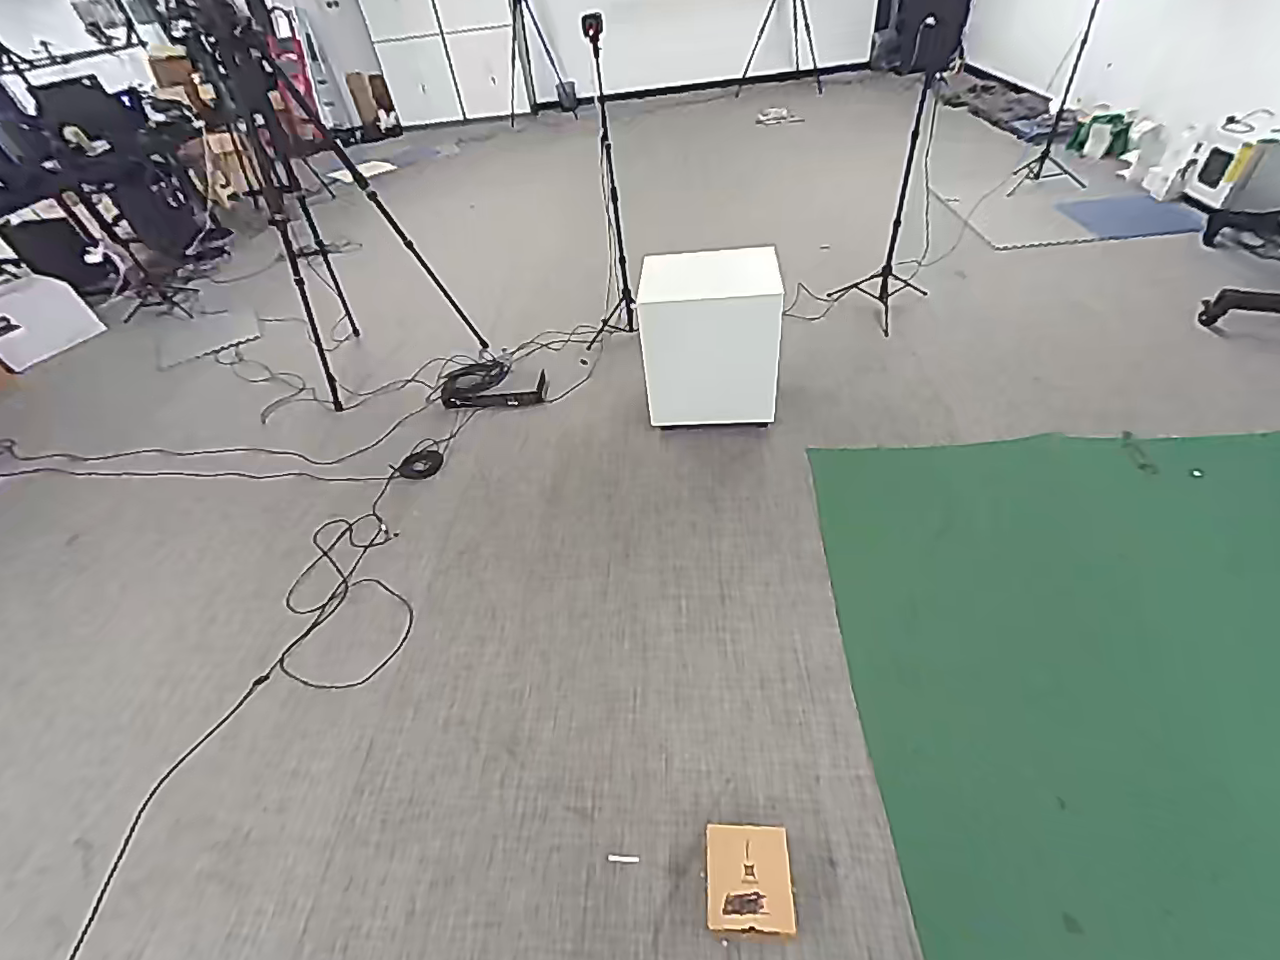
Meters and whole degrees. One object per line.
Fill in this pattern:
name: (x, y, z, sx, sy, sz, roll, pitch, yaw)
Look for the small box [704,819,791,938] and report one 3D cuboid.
small box: (0.219, 0.834, 1.131, 0.168, 0.176, 0.179, -1, 45, 7)
